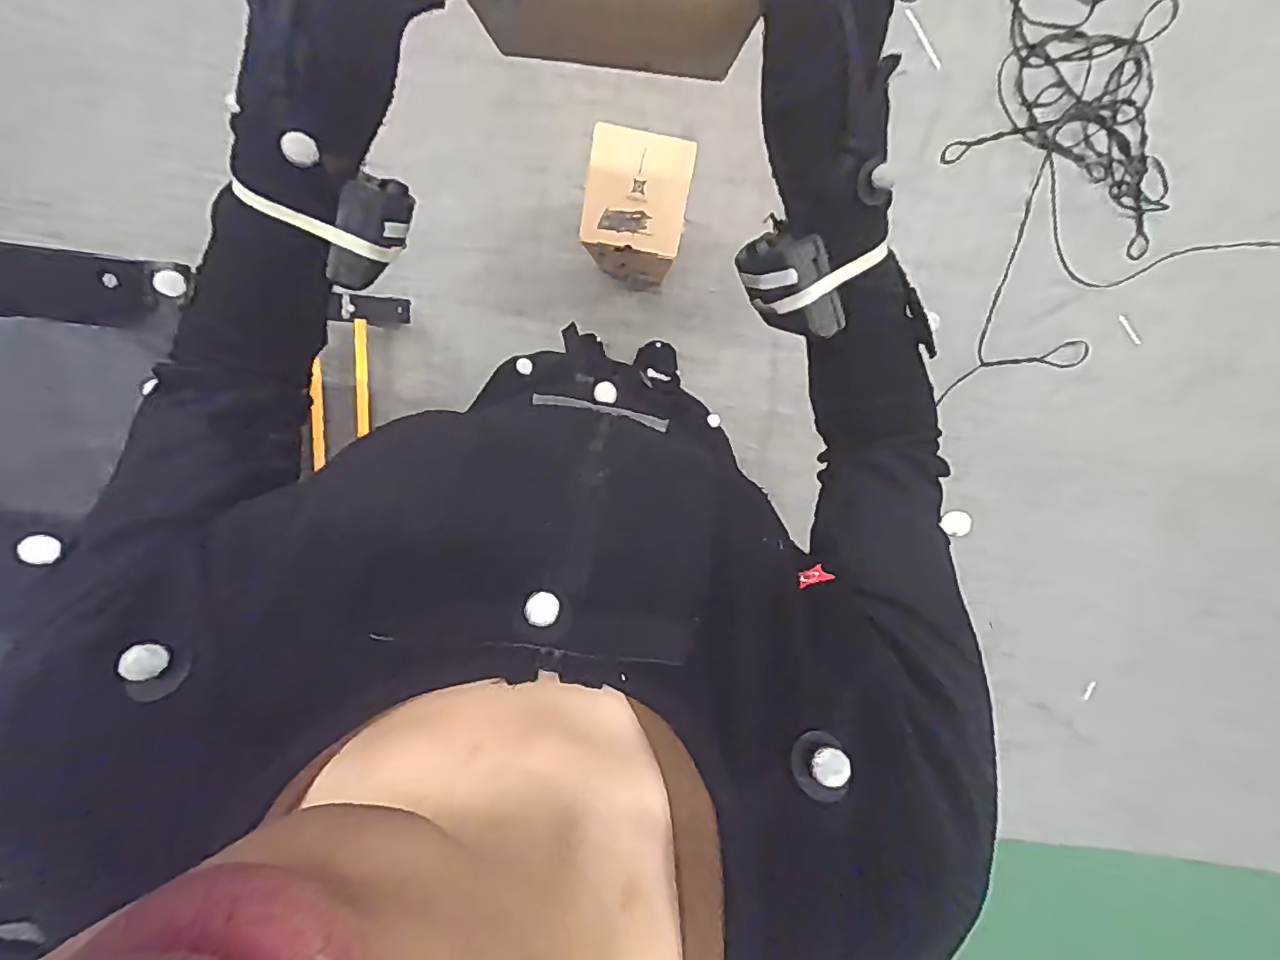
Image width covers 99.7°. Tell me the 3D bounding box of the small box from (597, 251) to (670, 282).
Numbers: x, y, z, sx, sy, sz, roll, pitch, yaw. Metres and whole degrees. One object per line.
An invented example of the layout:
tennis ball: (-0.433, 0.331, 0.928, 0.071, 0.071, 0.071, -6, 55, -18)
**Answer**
small box: (0.000, -0.574, 1.260, 0.168, 0.176, 0.179, 13, 106, -3)

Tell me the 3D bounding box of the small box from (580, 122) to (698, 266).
small box: (-0.003, -0.485, 0.946, 0.168, 0.176, 0.179, 10, 105, -3)
